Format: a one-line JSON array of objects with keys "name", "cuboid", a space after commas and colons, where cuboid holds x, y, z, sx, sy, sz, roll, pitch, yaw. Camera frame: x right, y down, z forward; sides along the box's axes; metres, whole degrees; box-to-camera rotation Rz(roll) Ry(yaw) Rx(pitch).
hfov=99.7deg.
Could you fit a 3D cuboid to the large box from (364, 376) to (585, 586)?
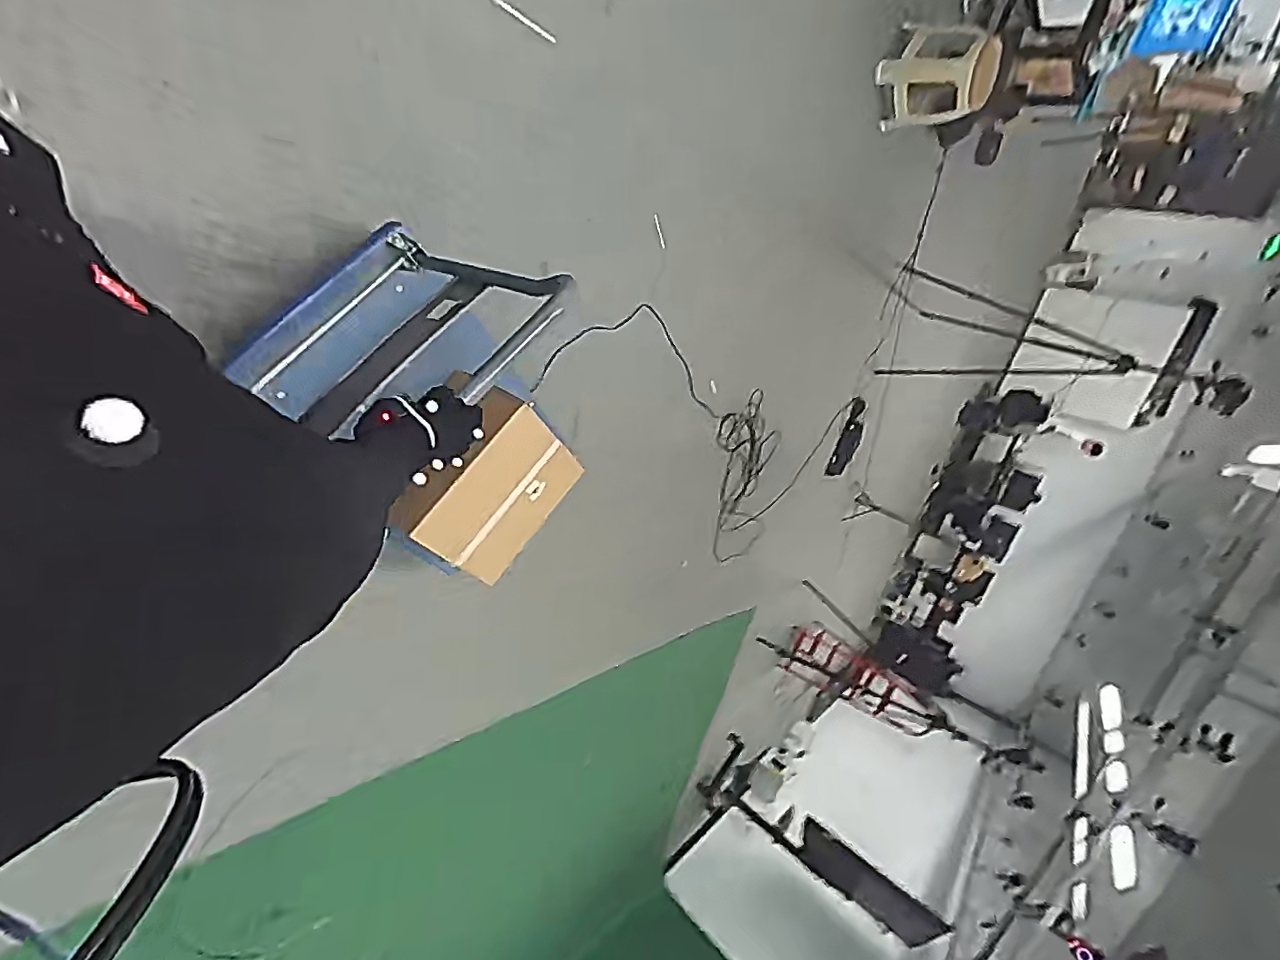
[{"name": "large box", "cuboid": [-0.431, -0.002, 1.436, 0.408, 0.320, 0.320, -54, 143, -13]}]
